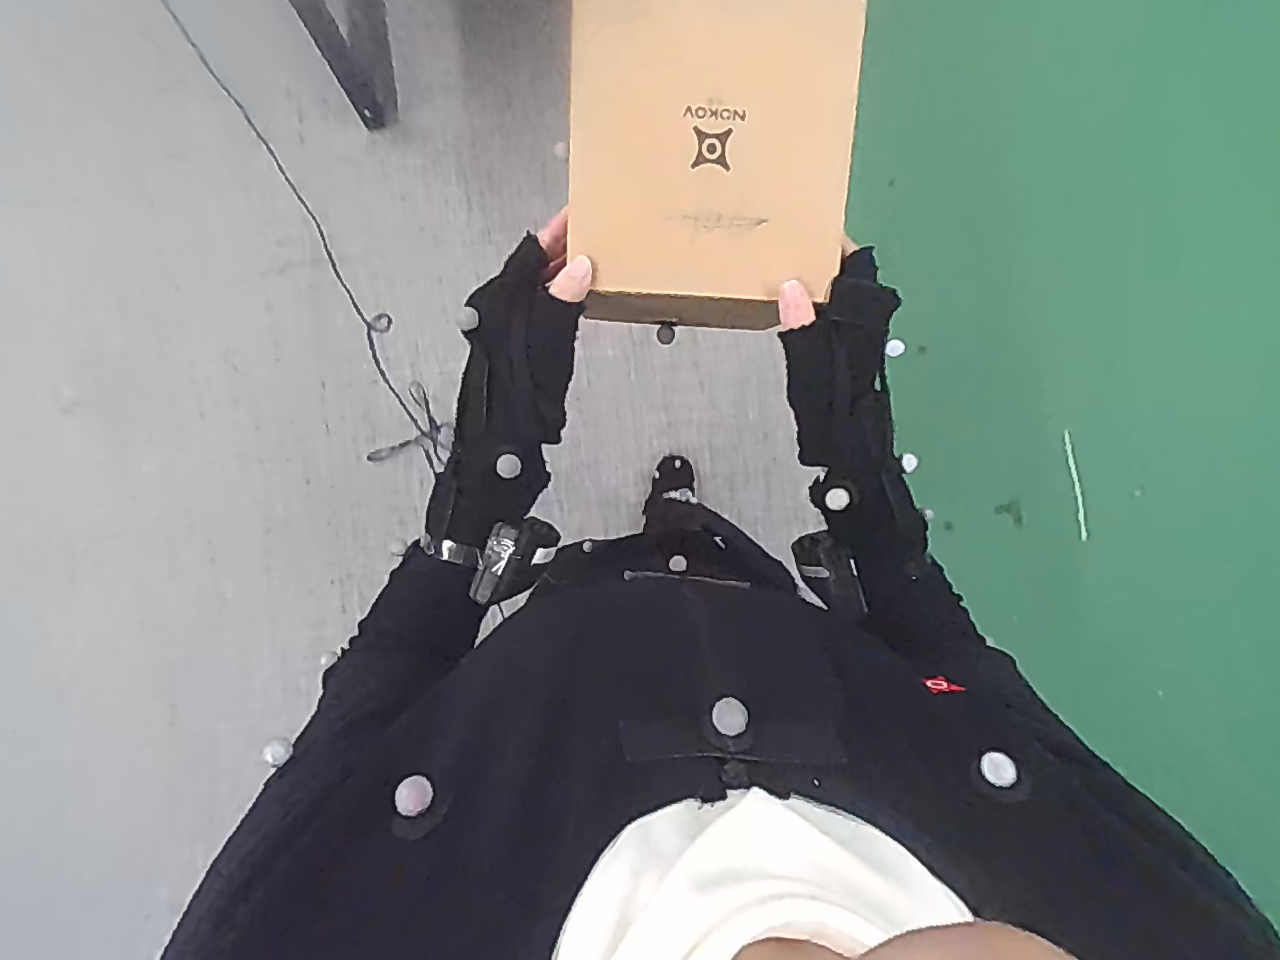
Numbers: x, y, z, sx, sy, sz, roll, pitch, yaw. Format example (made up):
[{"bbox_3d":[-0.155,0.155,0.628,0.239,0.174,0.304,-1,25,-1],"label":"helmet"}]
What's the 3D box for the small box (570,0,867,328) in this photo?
[{"bbox_3d":[0.041,-0.214,0.393,0.168,0.176,0.179,3,100,-1],"label":"small box"}]
